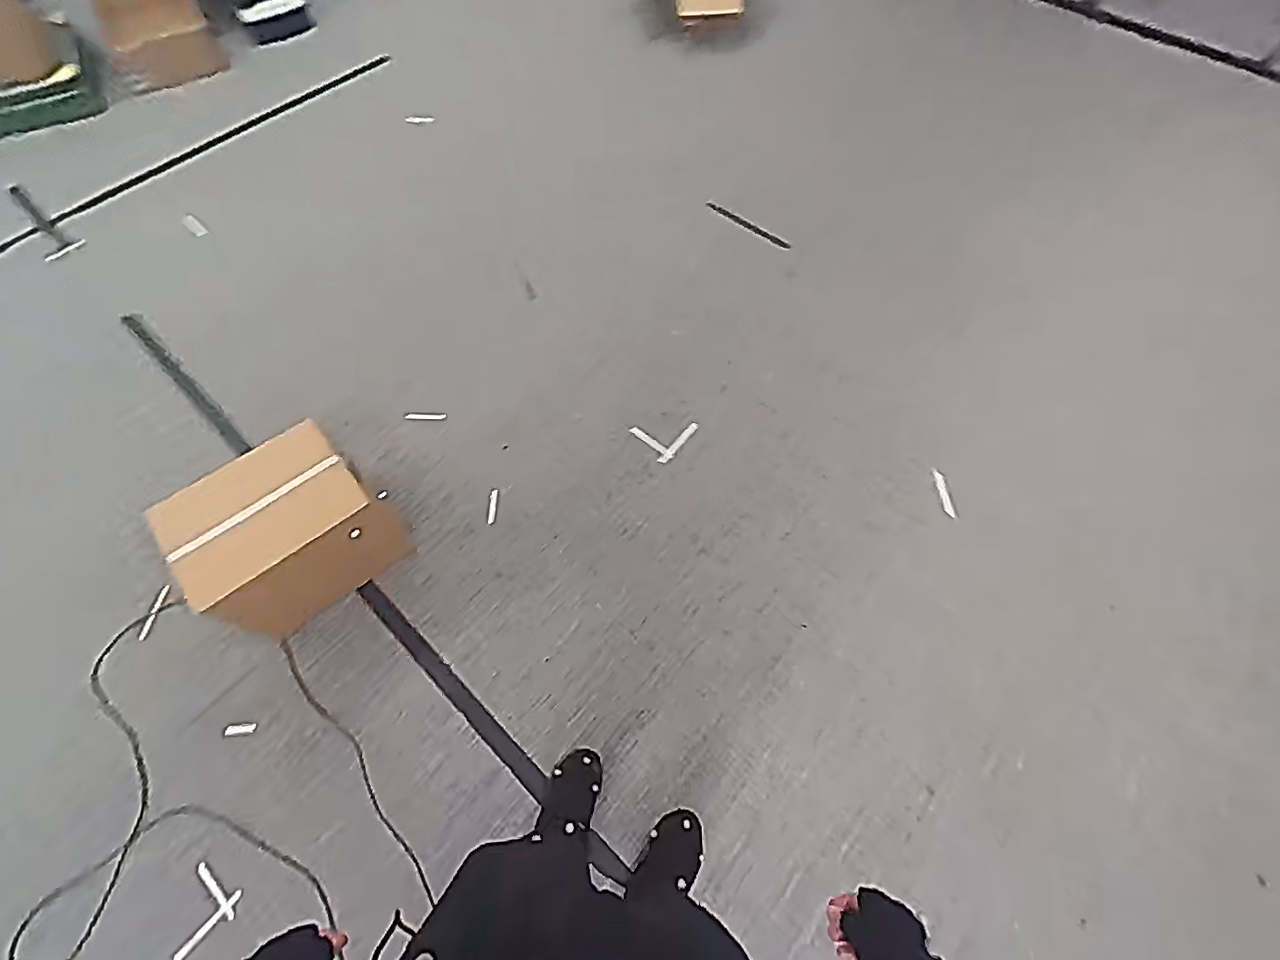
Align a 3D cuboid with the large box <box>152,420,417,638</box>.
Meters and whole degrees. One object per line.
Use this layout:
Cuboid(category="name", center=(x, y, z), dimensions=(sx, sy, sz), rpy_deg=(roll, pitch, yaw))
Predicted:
Cuboid(category="large box", center=(-0.862, 0.130, 1.368), dimensions=(0.408, 0.320, 0.320), rpy_deg=(-37, 69, -18))
